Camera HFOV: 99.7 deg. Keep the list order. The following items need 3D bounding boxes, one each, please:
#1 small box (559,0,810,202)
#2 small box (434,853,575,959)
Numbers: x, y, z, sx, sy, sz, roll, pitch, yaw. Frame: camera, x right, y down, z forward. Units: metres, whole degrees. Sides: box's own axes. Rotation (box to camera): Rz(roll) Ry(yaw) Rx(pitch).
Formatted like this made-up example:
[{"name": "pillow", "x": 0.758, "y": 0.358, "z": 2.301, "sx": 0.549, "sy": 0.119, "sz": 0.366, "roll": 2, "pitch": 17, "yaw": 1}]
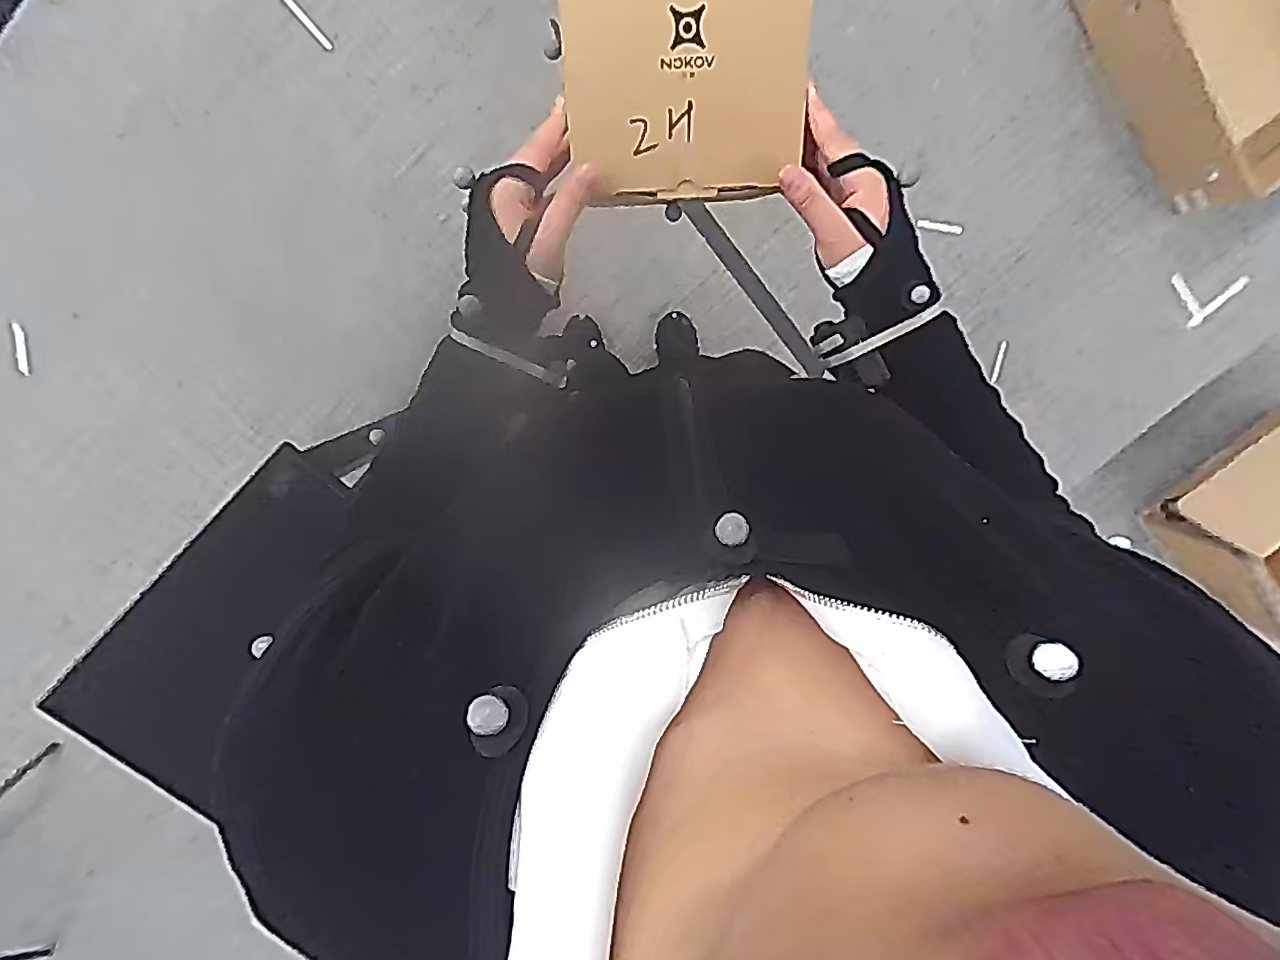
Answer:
[{"name": "small box", "x": 0.026, "y": -0.325, "z": 0.426, "sx": 0.168, "sy": 0.176, "sz": 0.179, "roll": -2, "pitch": 114, "yaw": 0}, {"name": "small box", "x": -0.217, "y": 0.768, "z": 0.883, "sx": 0.179, "sy": 0.176, "sz": 0.168, "roll": -41, "pitch": 103, "yaw": 9}]
